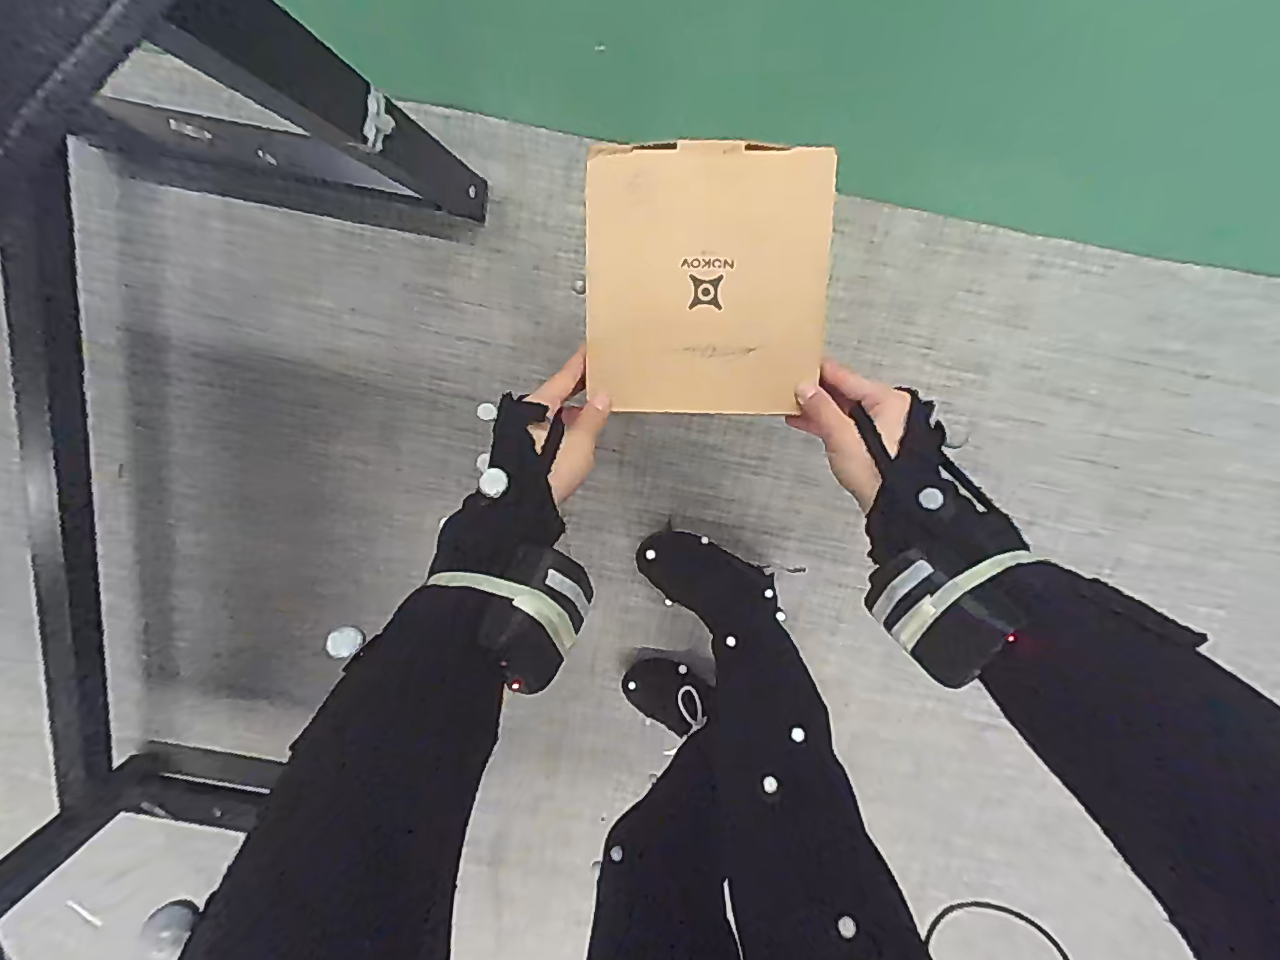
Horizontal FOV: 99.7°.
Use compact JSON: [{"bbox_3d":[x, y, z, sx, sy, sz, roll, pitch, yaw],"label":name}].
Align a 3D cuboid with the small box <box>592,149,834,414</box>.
[{"bbox_3d":[0.049,-0.149,0.452,0.168,0.176,0.179,0,102,2],"label":"small box"}]
